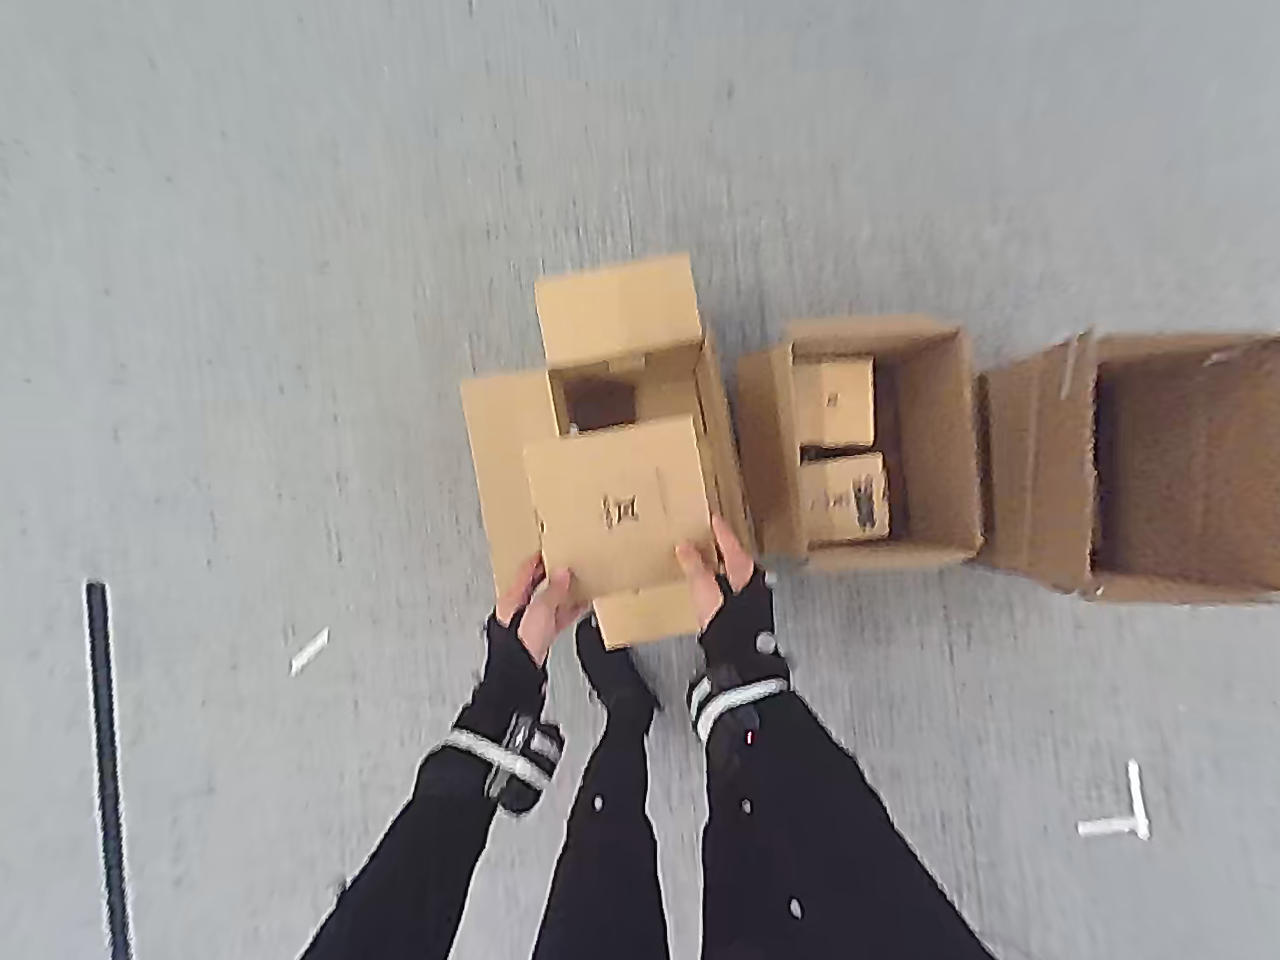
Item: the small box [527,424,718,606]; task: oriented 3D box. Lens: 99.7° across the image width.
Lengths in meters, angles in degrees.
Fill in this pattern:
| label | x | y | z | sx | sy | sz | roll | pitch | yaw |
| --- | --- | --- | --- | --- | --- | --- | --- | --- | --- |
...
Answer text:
| label | x | y | z | sx | sy | sz | roll | pitch | yaw |
| --- | --- | --- | --- | --- | --- | --- | --- | --- | --- |
| small box | -0.016 | 0.034 | 0.621 | 0.179 | 0.176 | 0.168 | -9 | 93 | 1 |
